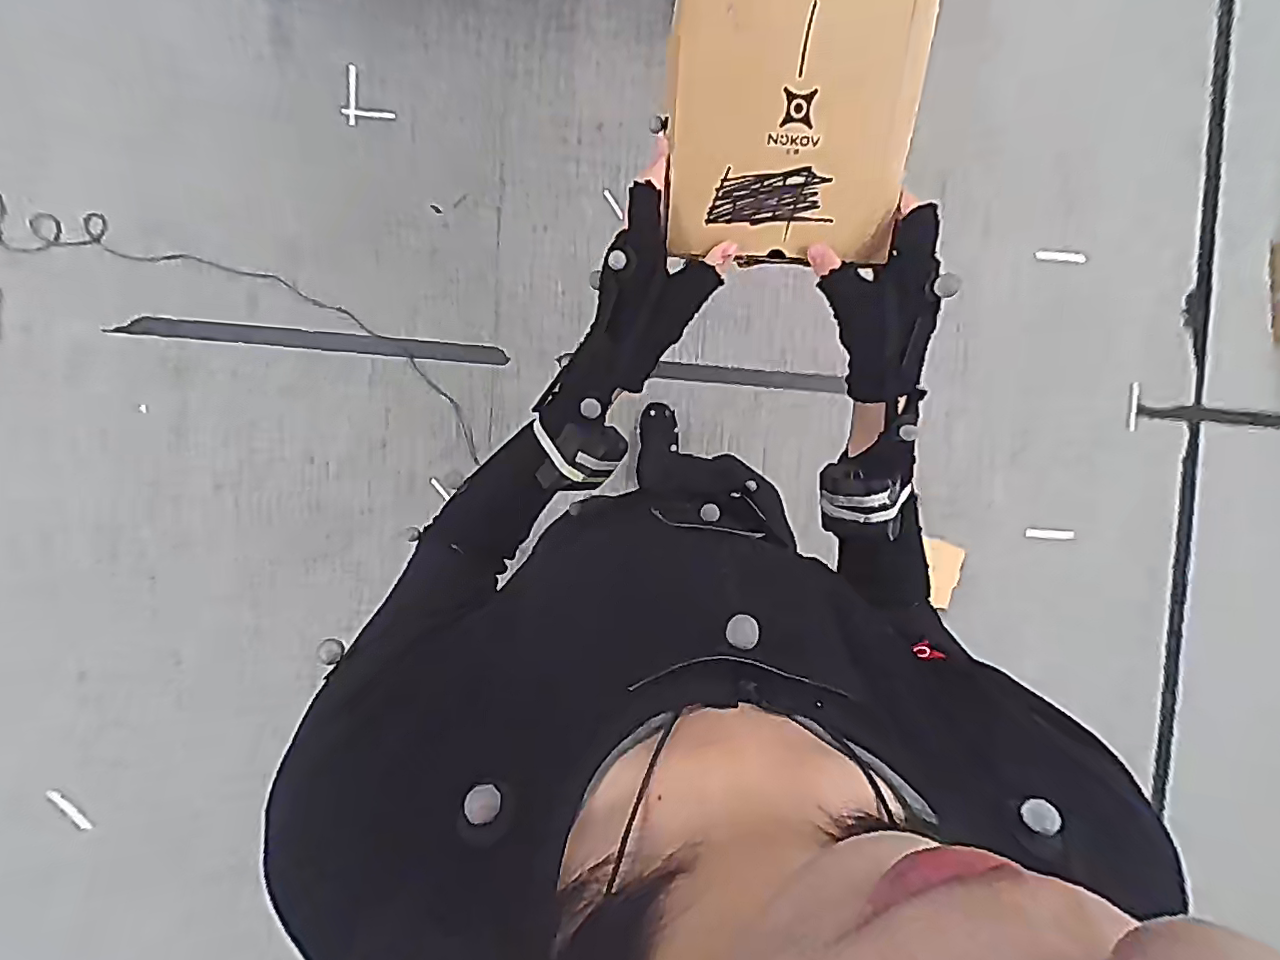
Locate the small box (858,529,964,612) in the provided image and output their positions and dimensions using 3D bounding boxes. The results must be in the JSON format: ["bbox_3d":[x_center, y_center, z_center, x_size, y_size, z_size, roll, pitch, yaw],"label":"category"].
[{"bbox_3d":[0.736,0.239,1.484,0.179,0.176,0.168,19,90,-3],"label":"small box"}]

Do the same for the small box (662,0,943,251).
[{"bbox_3d":[0.105,-0.282,0.432,0.168,0.176,0.179,2,112,-1],"label":"small box"}]
